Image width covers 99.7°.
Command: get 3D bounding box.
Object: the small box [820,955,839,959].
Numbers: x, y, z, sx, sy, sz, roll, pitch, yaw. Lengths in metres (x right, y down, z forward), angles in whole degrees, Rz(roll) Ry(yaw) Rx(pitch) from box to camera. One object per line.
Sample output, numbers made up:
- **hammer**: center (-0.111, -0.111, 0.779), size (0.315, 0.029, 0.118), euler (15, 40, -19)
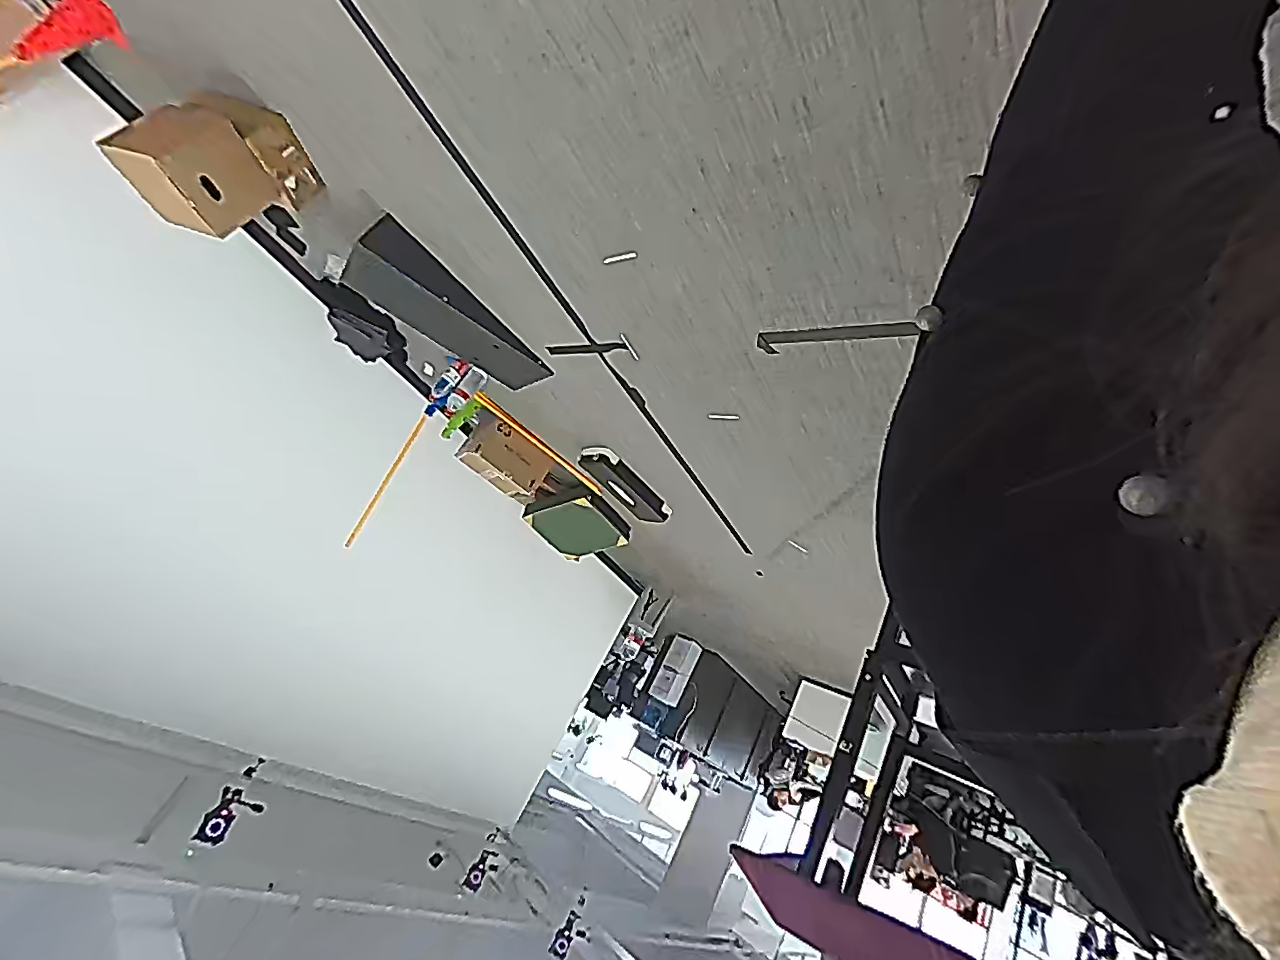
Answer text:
- **small box**: center (0.502, 1.299, 1.308), size (0.179, 0.176, 0.168), euler (11, 151, 40)
